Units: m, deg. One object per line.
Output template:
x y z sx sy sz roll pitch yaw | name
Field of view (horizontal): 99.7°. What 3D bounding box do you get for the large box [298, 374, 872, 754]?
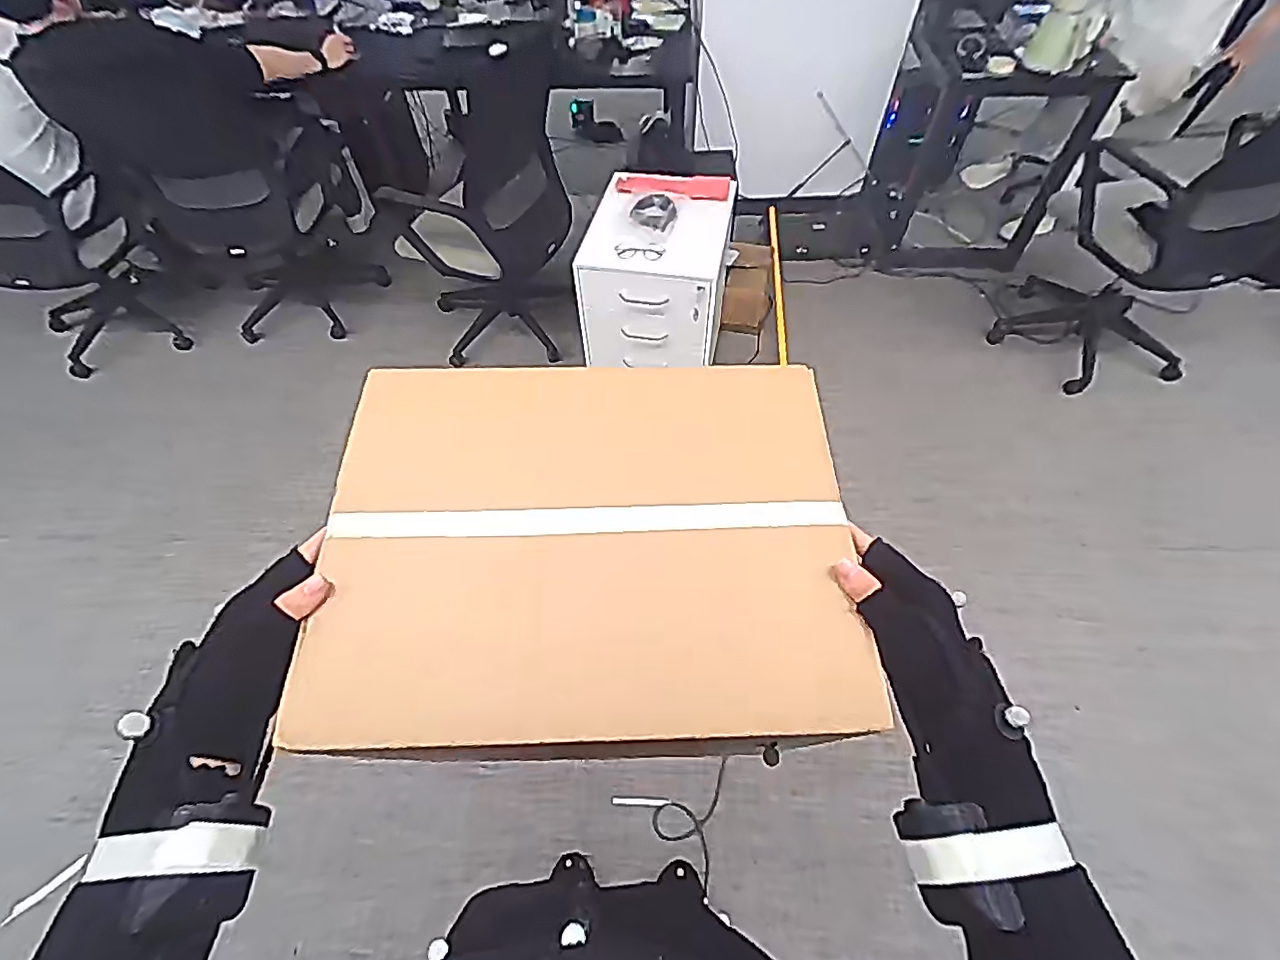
-0.040 0.109 0.571 0.408 0.320 0.320 -1 61 -1 | large box
